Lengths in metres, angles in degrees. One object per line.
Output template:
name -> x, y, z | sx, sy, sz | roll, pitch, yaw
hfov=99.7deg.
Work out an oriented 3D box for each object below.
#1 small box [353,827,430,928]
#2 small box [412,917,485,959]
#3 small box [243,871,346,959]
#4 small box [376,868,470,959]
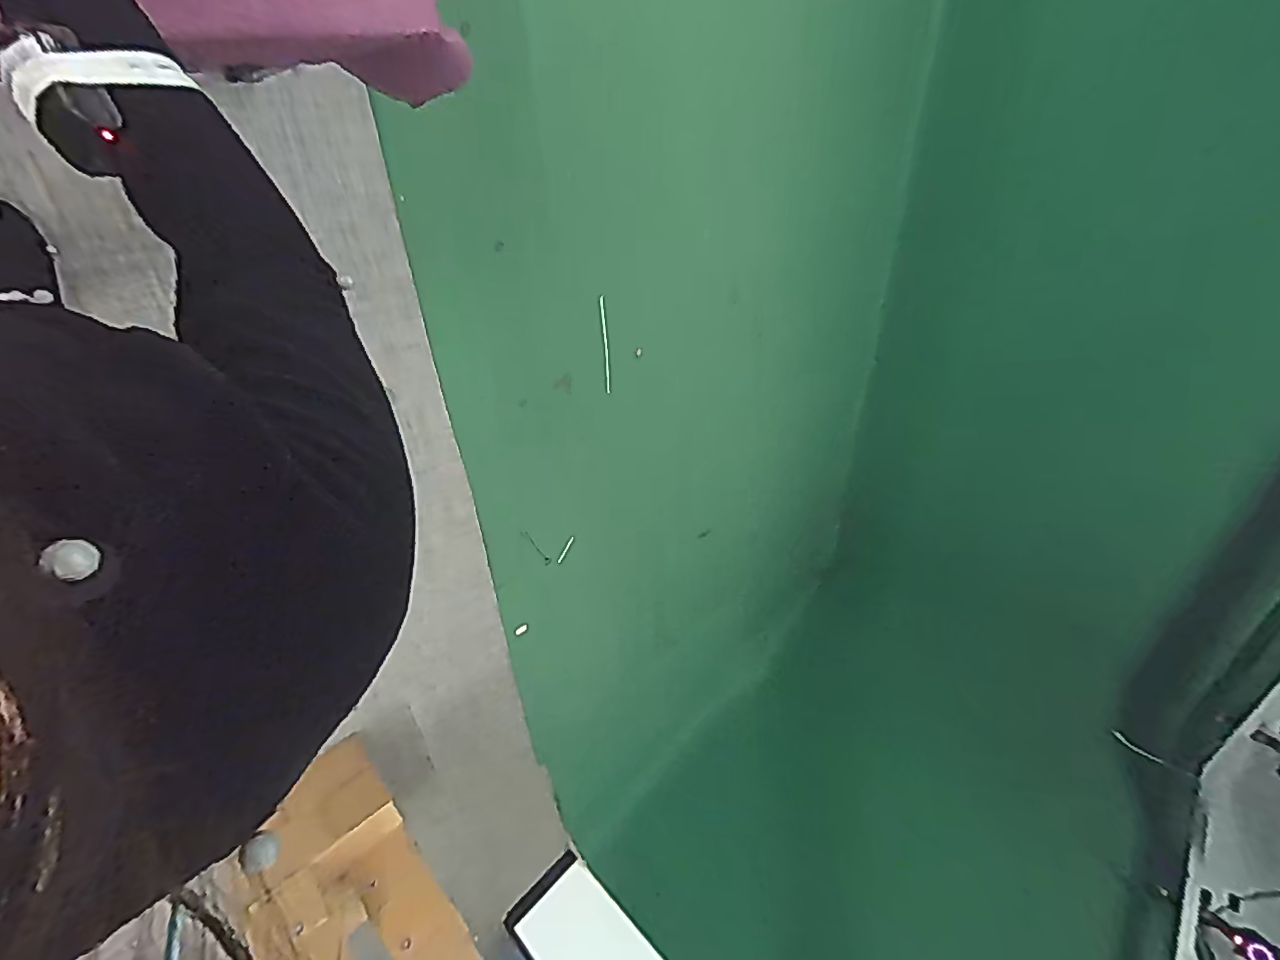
small box -> -0.744, 1.214, 1.645 | 0.179, 0.176, 0.168 | -33, 136, -35
small box -> -0.511, 1.345, 1.454 | 0.179, 0.176, 0.168 | -30, 135, -36
small box -> -0.910, 1.191, 1.429 | 0.168, 0.176, 0.179 | -26, 131, -38
small box -> -0.623, 1.274, 1.554 | 0.179, 0.176, 0.168 | -31, 135, -34
